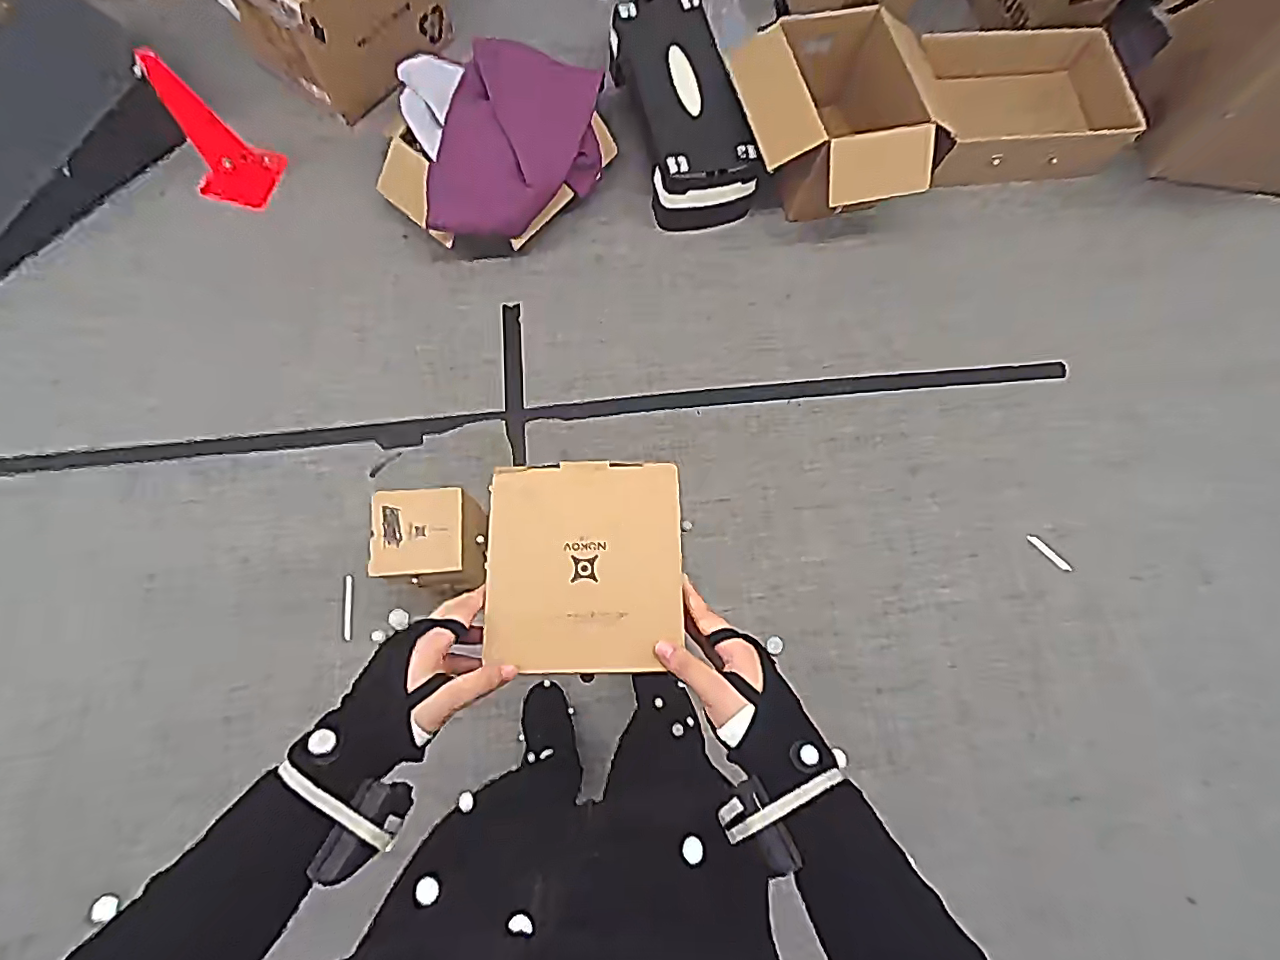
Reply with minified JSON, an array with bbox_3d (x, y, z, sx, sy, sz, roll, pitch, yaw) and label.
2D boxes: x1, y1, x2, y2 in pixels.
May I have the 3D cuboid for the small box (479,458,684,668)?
[{"bbox_3d":[-0.046,0.087,0.525,0.168,0.176,0.179,-1,74,1],"label":"small box"}]

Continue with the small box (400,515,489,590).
[{"bbox_3d":[-0.448,0.167,1.269,0.168,0.176,0.179,-3,76,-4],"label":"small box"}]

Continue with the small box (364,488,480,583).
[{"bbox_3d":[-0.438,0.118,1.110,0.179,0.176,0.168,-3,76,-5],"label":"small box"}]
